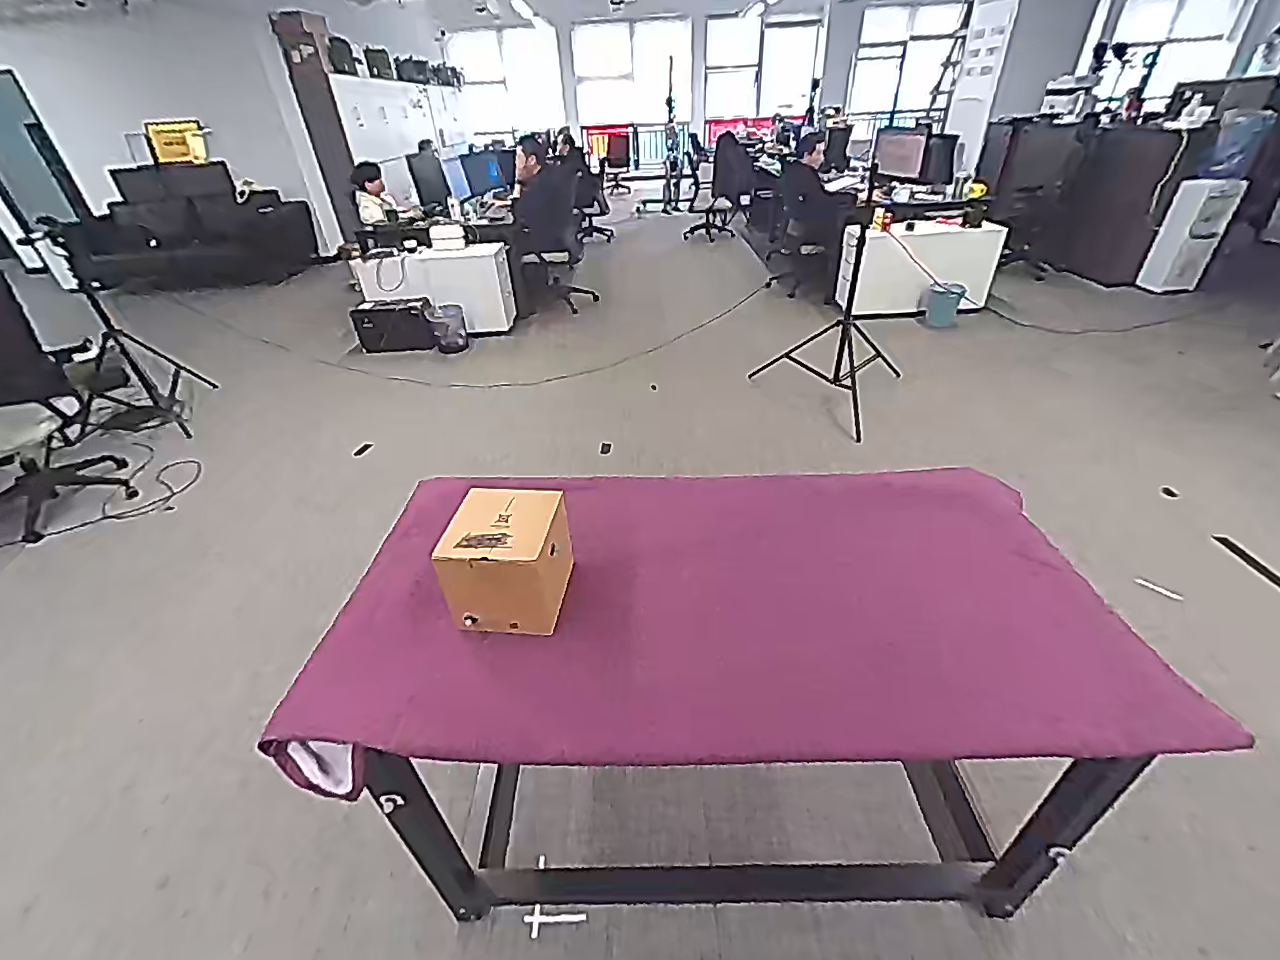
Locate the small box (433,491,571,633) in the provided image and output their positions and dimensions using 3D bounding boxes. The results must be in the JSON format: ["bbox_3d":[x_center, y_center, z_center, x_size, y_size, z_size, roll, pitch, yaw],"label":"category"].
[{"bbox_3d":[-0.217,0.138,0.911,0.168,0.176,0.179,2,35,6],"label":"small box"}]
